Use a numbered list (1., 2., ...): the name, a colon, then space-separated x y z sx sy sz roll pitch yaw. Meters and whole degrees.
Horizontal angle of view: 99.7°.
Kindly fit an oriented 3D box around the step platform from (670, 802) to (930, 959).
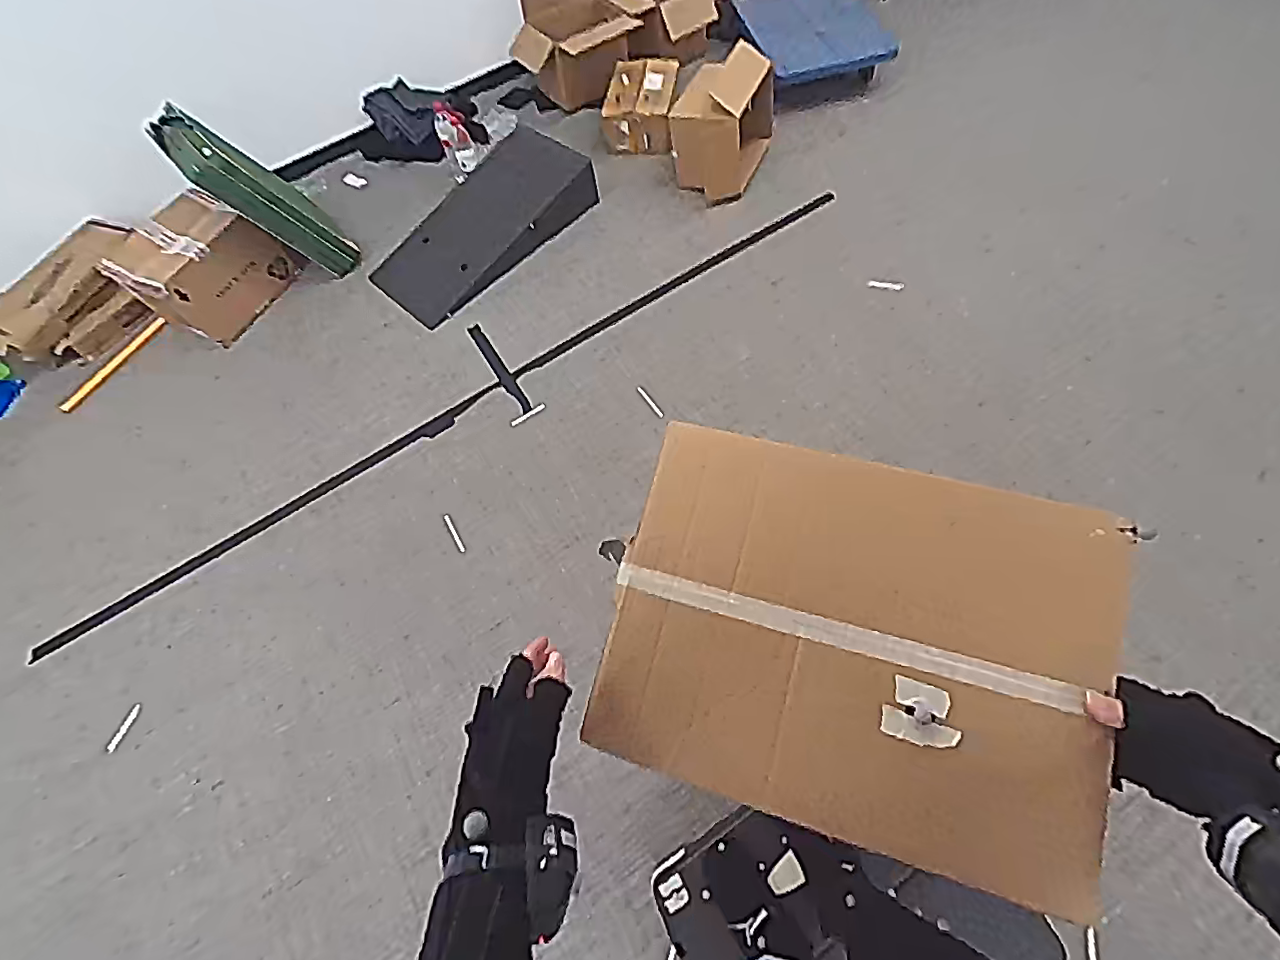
1. step platform: 0.405 0.799 1.215 0.684 0.204 0.286 -33 63 -11

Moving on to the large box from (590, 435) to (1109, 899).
1. large box: 0.200 0.169 0.617 0.408 0.320 0.320 12 80 12
